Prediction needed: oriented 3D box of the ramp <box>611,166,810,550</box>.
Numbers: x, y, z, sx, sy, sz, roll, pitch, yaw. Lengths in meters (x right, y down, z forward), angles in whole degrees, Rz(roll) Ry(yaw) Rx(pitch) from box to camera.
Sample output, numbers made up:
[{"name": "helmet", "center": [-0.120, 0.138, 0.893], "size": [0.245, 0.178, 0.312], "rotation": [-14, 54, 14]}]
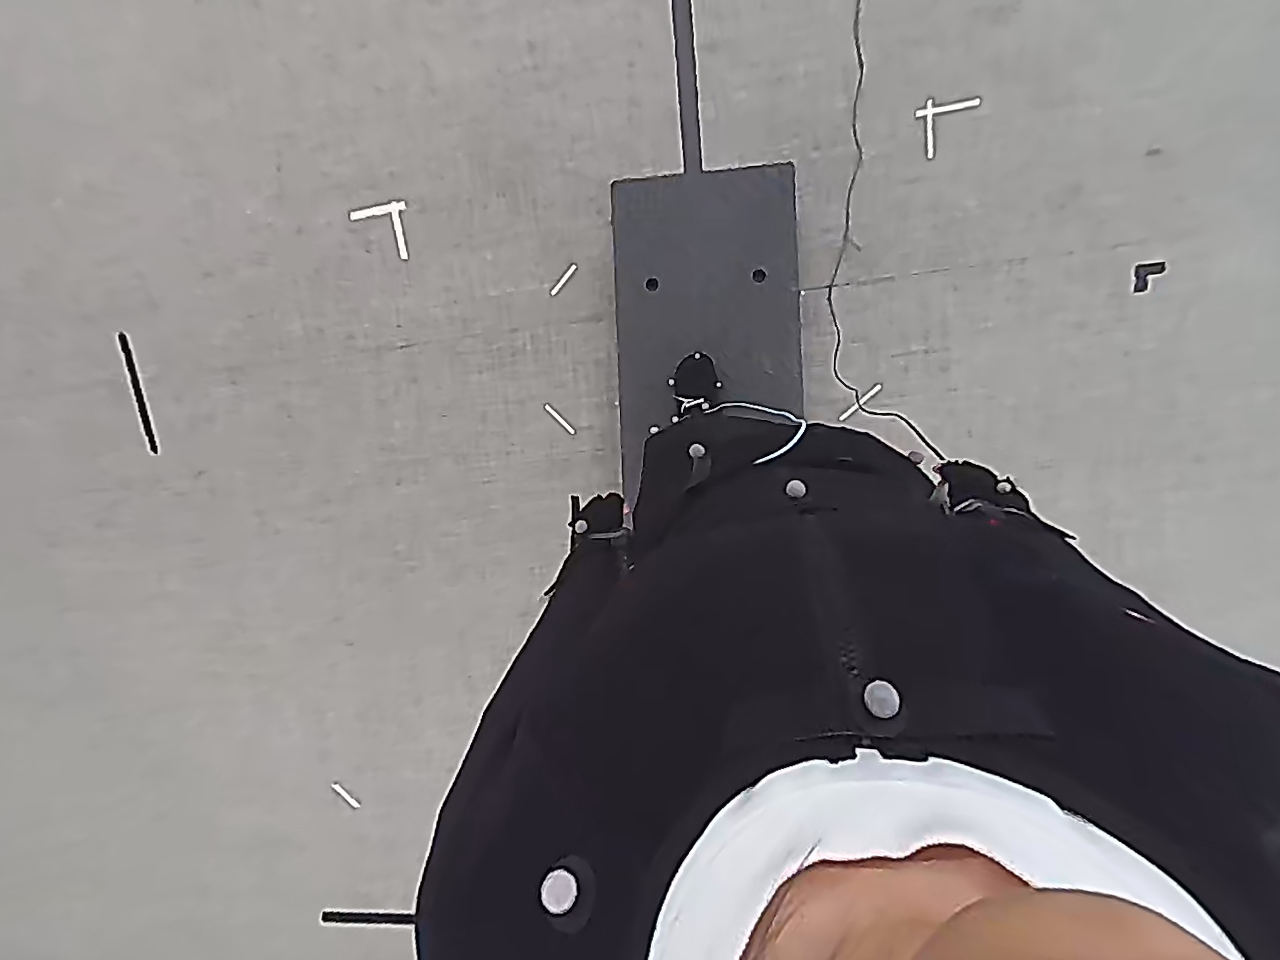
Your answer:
[{"name": "ramp", "center": [0.179, -0.318, 1.449], "size": [0.509, 0.206, 0.991], "rotation": [-4, 99, 8]}]
